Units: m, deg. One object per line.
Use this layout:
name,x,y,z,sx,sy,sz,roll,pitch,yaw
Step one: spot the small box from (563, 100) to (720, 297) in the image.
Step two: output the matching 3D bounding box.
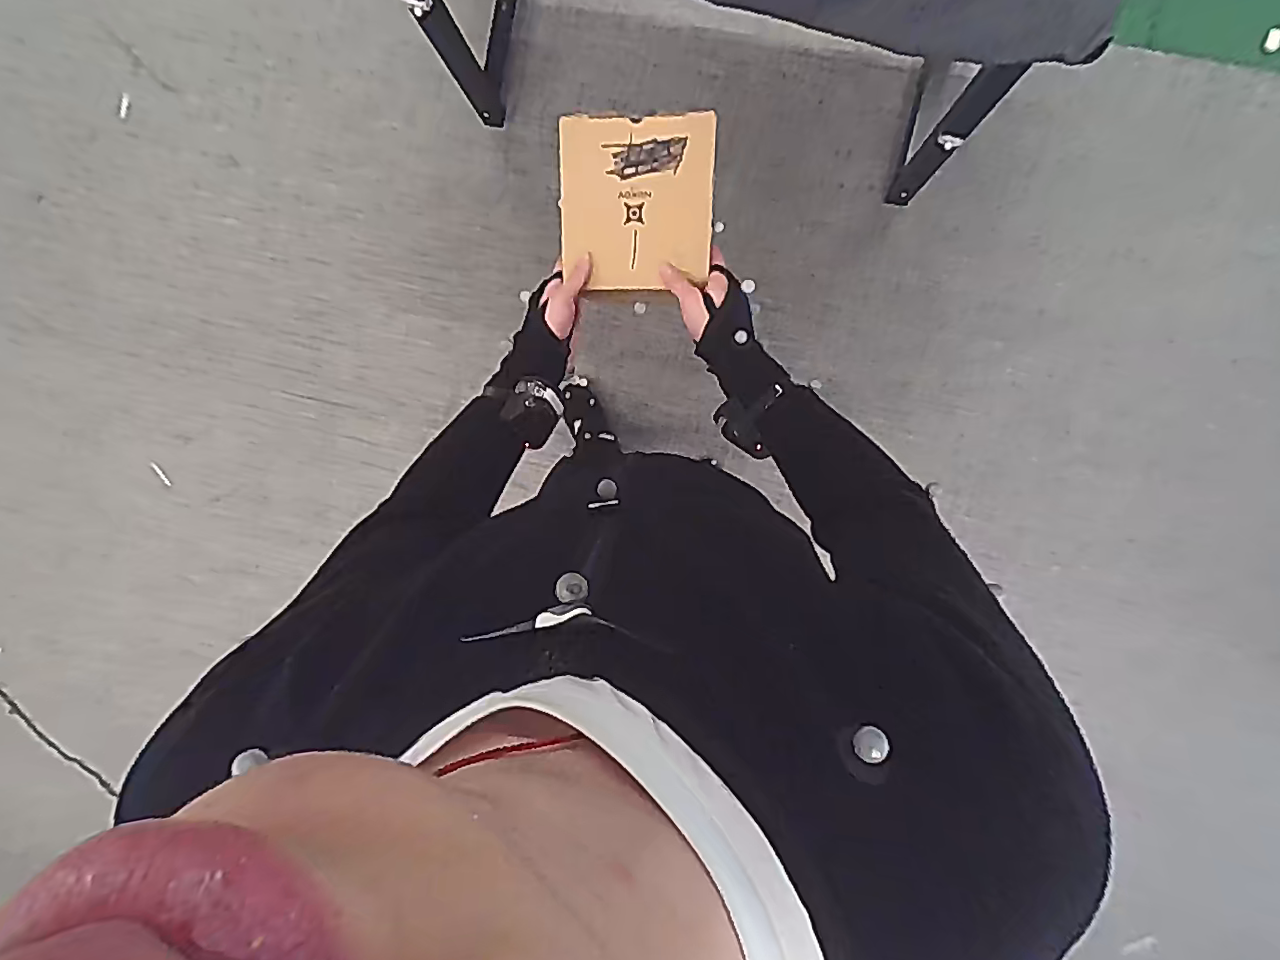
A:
small box,0.006,-0.323,0.654,0.168,0.176,0.179,2,104,6

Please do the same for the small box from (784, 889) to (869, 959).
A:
small box,0.513,1.311,1.516,0.168,0.176,0.179,15,96,3
